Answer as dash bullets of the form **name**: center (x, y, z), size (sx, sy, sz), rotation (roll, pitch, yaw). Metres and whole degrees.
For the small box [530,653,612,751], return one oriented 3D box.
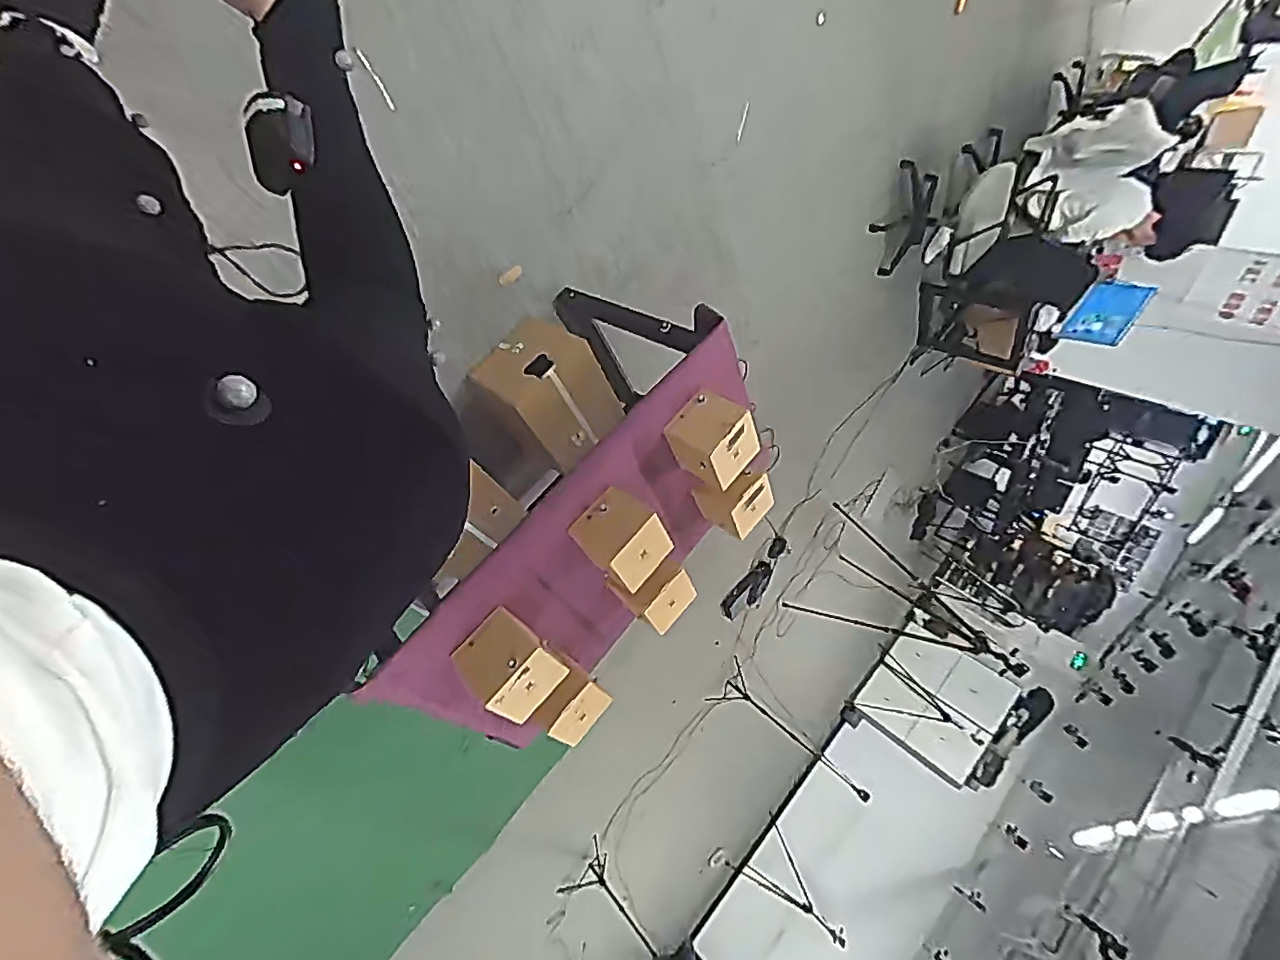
- **small box**: center (-0.212, 0.609, 1.495), size (0.168, 0.176, 0.179), rotation (-47, 141, -16)

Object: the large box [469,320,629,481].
- **large box**: center (-0.304, -0.273, 1.870), size (0.320, 0.320, 0.408), rotation (-46, 142, -13)

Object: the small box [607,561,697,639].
- **small box**: center (0.036, 0.324, 1.576), size (0.168, 0.176, 0.179), rotation (-45, 140, -15)

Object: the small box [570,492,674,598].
- **small box**: center (-0.044, 0.160, 1.370), size (0.168, 0.176, 0.179), rotation (-47, 142, -15)

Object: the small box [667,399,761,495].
- **small box**: center (0.198, -0.097, 1.454), size (0.168, 0.176, 0.179), rotation (-47, 143, -12)

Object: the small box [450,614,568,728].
- **small box**: center (-0.308, 0.448, 1.278), size (0.168, 0.176, 0.179), rotation (-47, 143, -16)
